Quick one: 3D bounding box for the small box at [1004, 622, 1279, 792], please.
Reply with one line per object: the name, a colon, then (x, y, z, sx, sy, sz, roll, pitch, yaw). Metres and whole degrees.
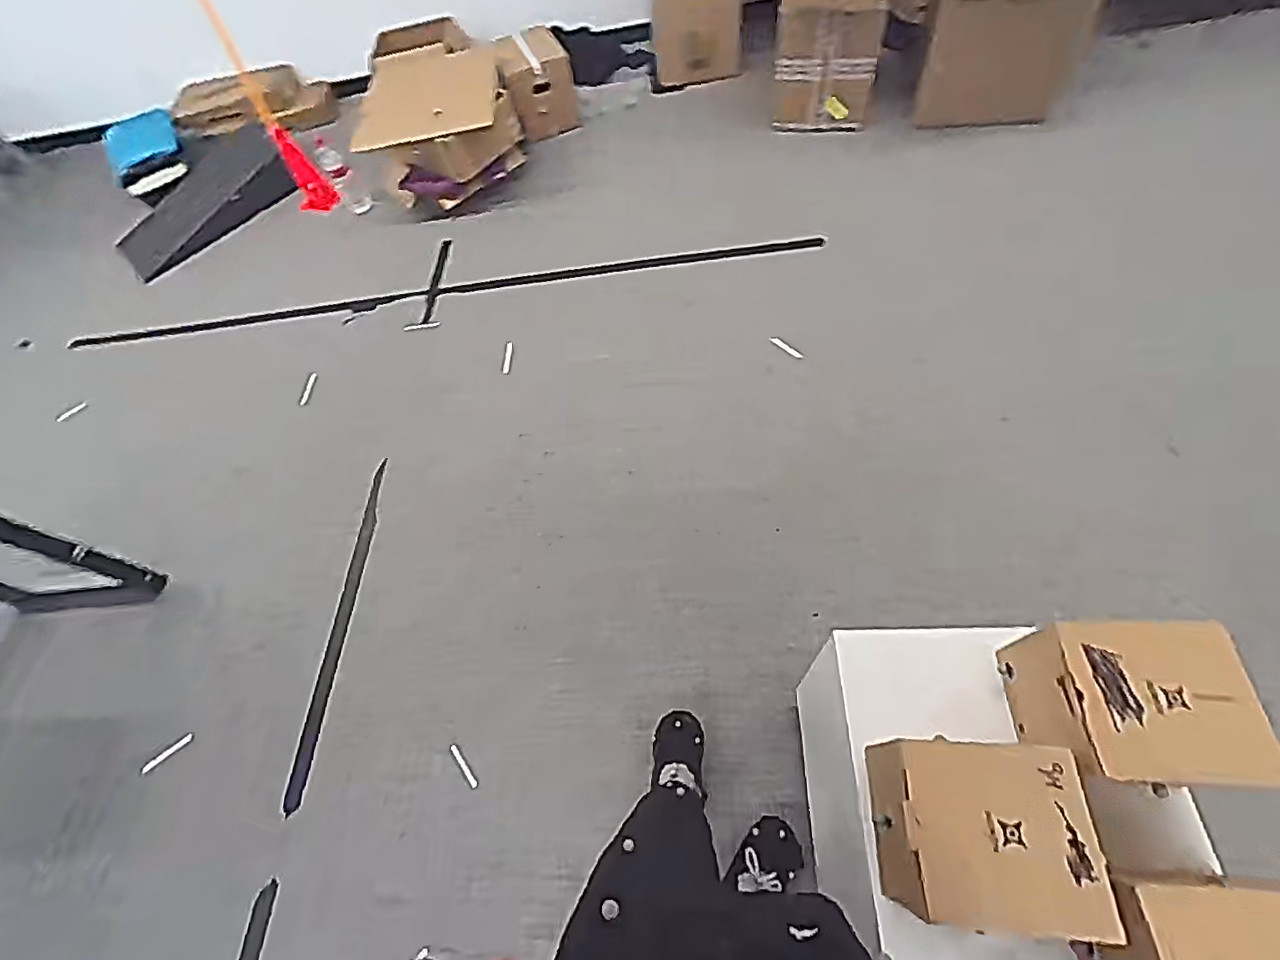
small box: (0.573, 0.275, 0.651, 0.179, 0.176, 0.168, -1, 61, 9)

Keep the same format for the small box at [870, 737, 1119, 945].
small box: (0.373, 0.396, 0.616, 0.179, 0.176, 0.168, -1, 61, 9)

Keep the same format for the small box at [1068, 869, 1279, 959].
small box: (0.562, 0.493, 0.530, 0.179, 0.176, 0.168, -3, 59, 10)
